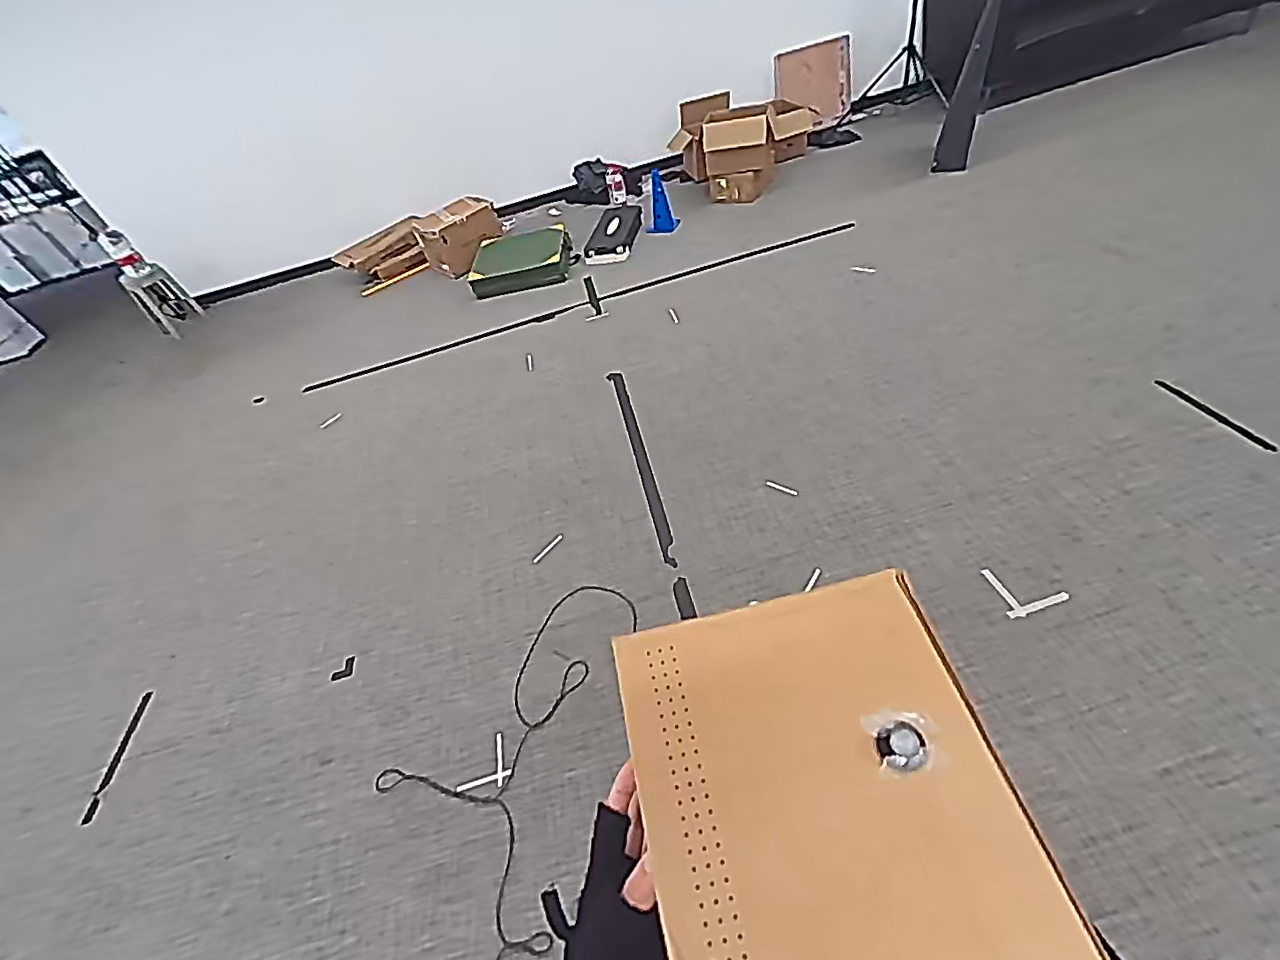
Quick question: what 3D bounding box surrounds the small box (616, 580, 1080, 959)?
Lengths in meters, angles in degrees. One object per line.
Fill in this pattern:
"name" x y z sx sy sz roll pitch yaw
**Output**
"small box" 0.089 0.188 0.326 0.176 0.168 0.179 -15 55 1
